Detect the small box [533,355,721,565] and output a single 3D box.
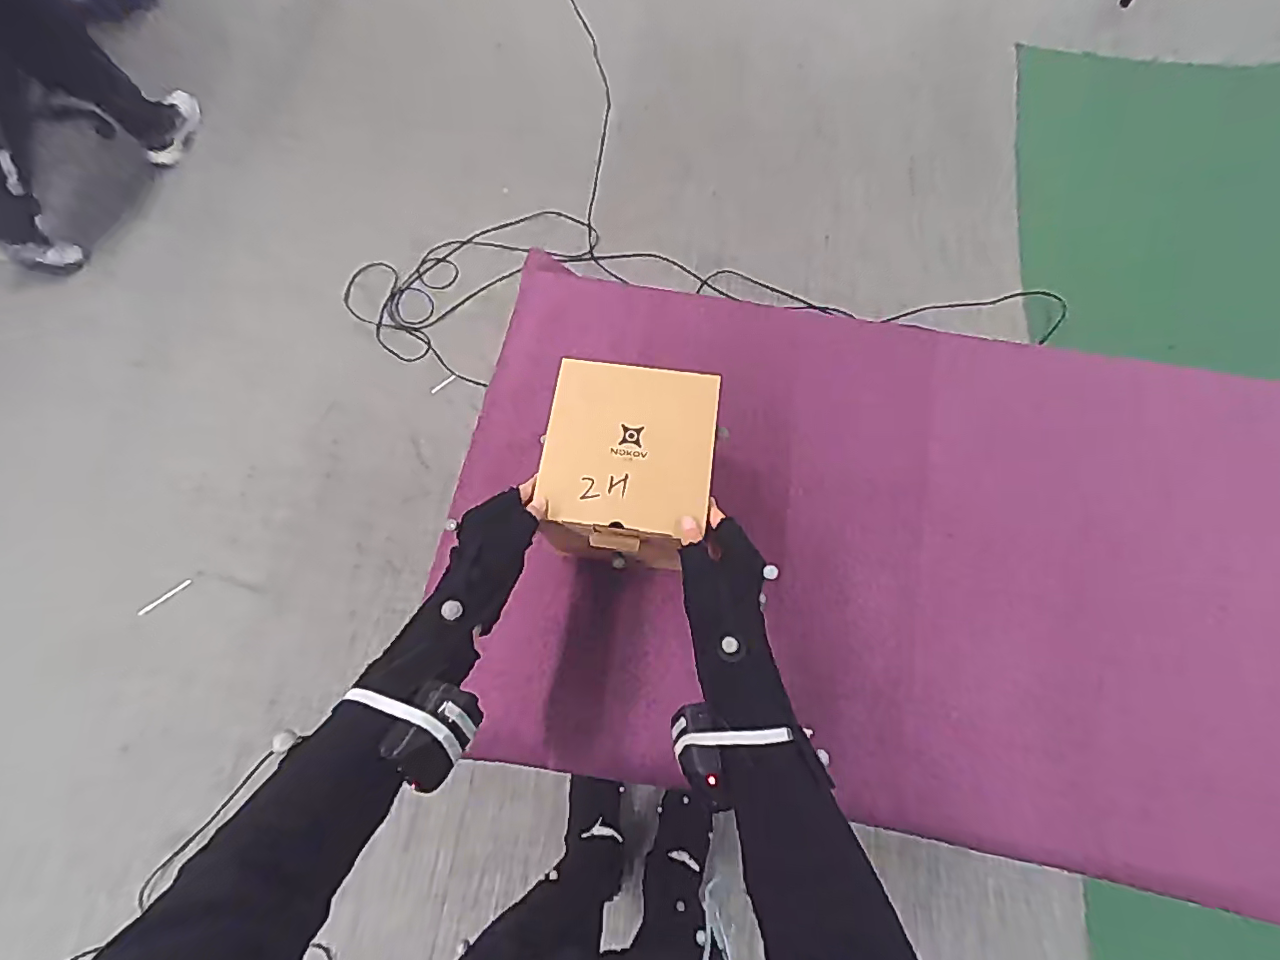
[{"bbox_3d":[-0.008,-0.014,0.606,0.168,0.176,0.179,7,71,4],"label":"small box"}]
